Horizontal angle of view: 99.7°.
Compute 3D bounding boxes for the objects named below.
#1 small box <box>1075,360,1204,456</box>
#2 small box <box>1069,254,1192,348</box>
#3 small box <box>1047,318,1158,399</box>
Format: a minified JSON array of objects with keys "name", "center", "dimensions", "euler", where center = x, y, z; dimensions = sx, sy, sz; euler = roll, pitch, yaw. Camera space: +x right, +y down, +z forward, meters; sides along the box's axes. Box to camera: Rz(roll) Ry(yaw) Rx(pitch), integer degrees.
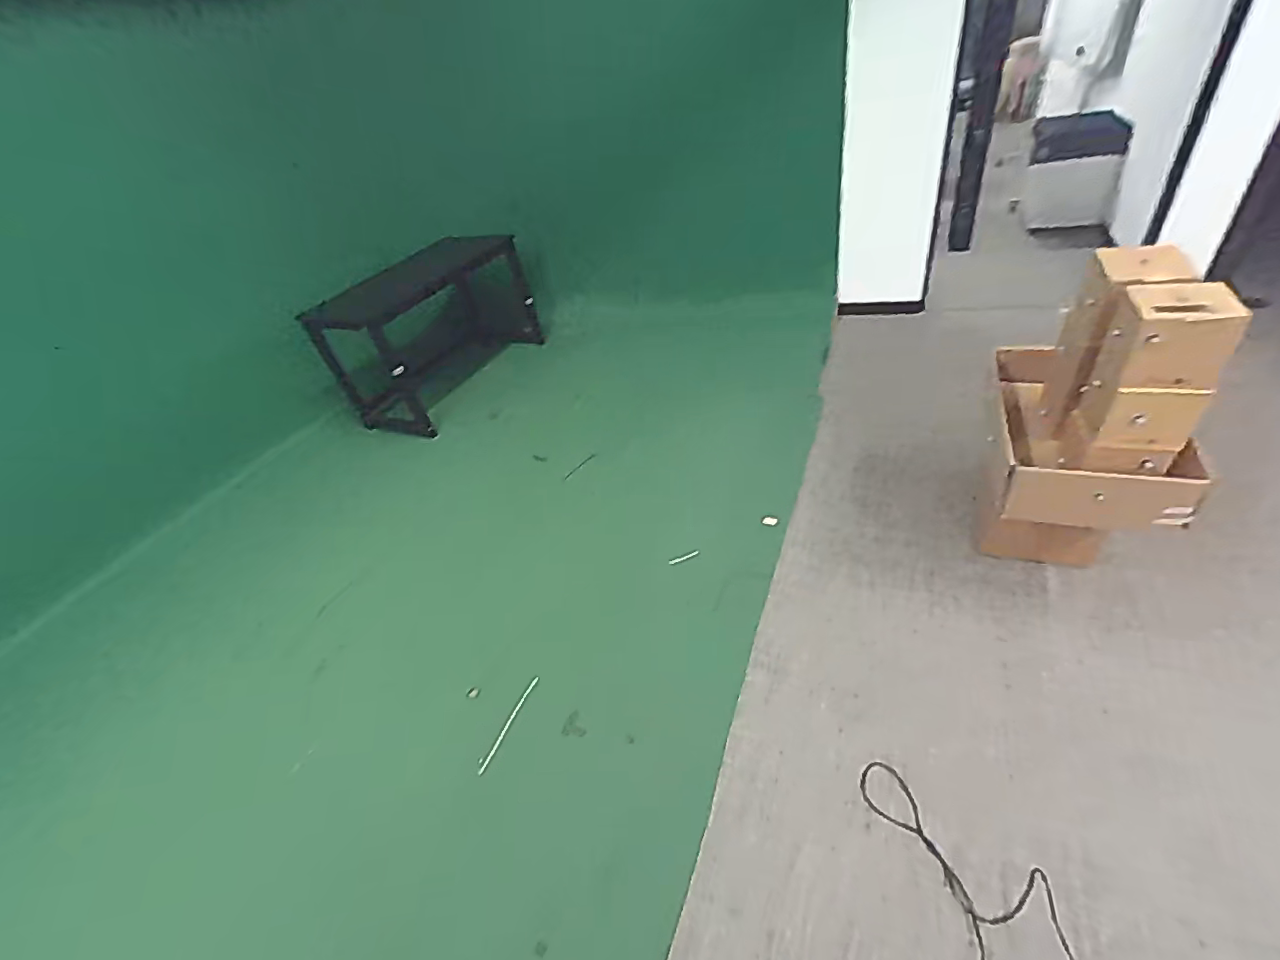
[{"name":"small box","center":[1.187,-0.172,1.301],"dimensions":[0.168,0.176,0.179],"euler":[5,42,22]},{"name":"small box","center":[1.219,-0.446,1.359],"dimensions":[0.168,0.176,0.179],"euler":[5,46,21]},{"name":"small box","center":[1.245,-0.329,1.470],"dimensions":[0.168,0.176,0.179],"euler":[2,44,19]}]
